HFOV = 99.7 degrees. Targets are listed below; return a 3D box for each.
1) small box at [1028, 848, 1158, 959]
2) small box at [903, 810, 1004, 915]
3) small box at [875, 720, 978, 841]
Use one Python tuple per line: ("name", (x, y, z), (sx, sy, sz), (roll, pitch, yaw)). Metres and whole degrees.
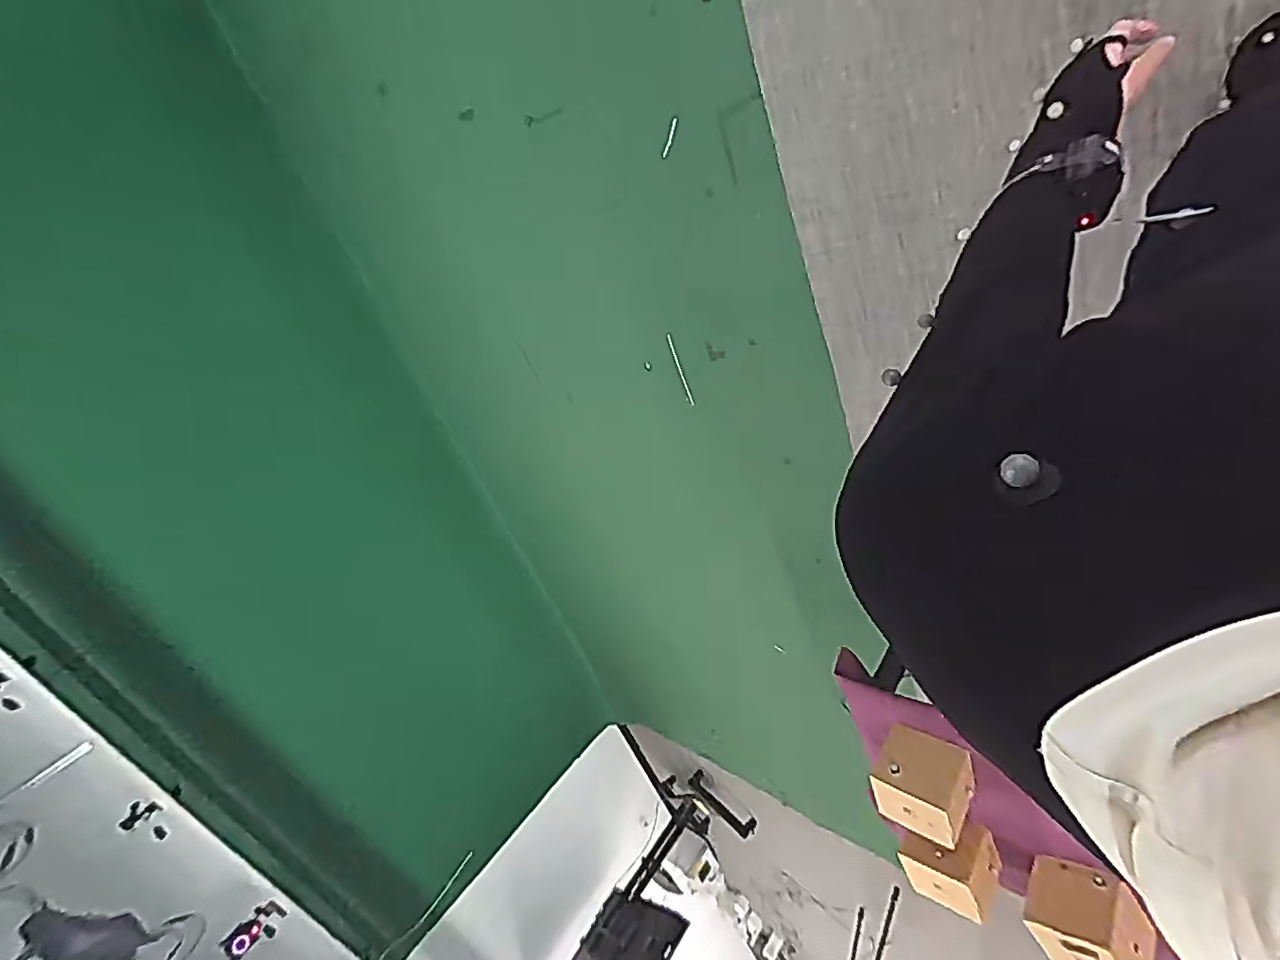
("small box", (1.025, 0.985, 1.223), (0.179, 0.176, 0.168), (54, 147, -7))
("small box", (0.841, 0.992, 1.447), (0.179, 0.176, 0.168), (-5, 119, 50))
("small box", (0.707, 0.727, 1.331), (0.179, 0.176, 0.168), (7, 130, 45))
